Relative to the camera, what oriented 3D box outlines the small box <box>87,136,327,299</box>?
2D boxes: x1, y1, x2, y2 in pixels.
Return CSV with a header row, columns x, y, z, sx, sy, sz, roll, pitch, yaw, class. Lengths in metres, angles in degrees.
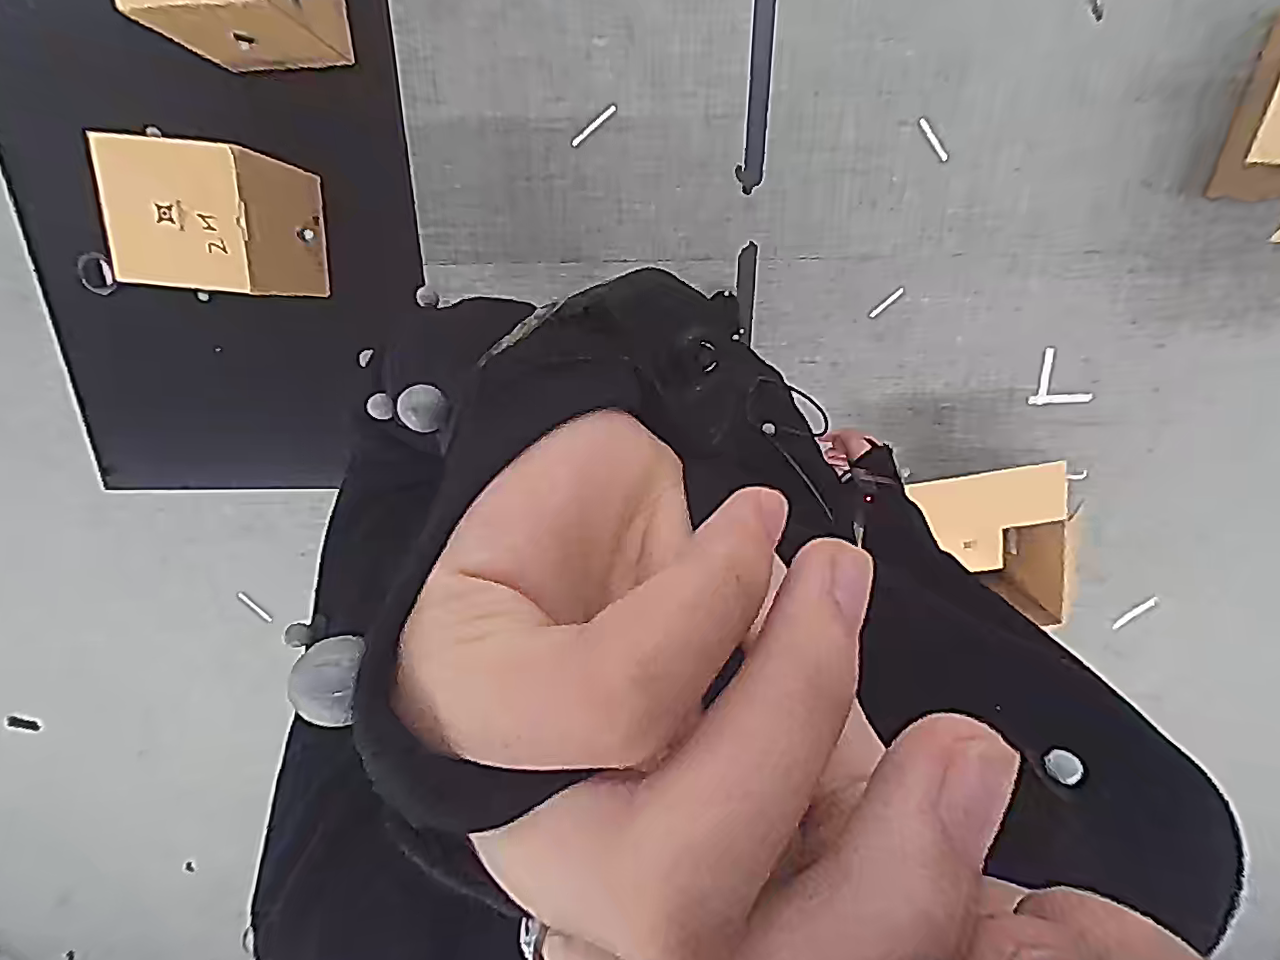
x,y,z,sx,sy,sz,roll,pitch,yaw,class
-0.557,-0.336,0.723,0.179,0.176,0.168,5,108,1,small box
